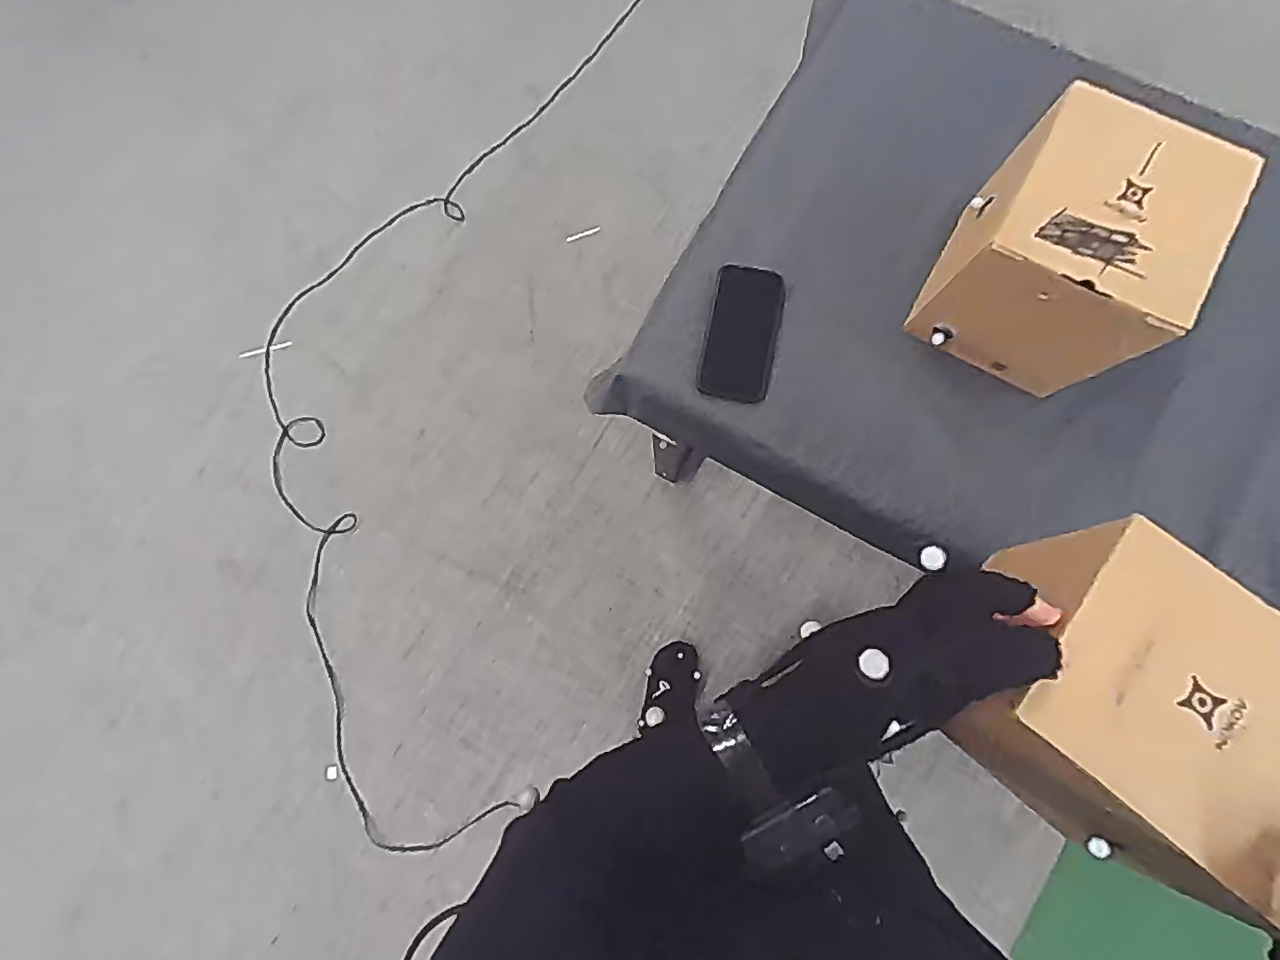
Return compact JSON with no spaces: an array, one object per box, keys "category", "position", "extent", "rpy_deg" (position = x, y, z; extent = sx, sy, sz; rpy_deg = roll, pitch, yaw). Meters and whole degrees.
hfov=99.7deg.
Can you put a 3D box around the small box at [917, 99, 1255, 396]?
[{"category":"small box","position":[0.408,-0.208,0.531],"extent":[0.168,0.176,0.179],"rpy_deg":[29,82,6]}]

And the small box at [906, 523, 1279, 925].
[{"category":"small box","position":[0.349,0.161,0.409],"extent":[0.179,0.176,0.168],"rpy_deg":[39,76,12]}]
